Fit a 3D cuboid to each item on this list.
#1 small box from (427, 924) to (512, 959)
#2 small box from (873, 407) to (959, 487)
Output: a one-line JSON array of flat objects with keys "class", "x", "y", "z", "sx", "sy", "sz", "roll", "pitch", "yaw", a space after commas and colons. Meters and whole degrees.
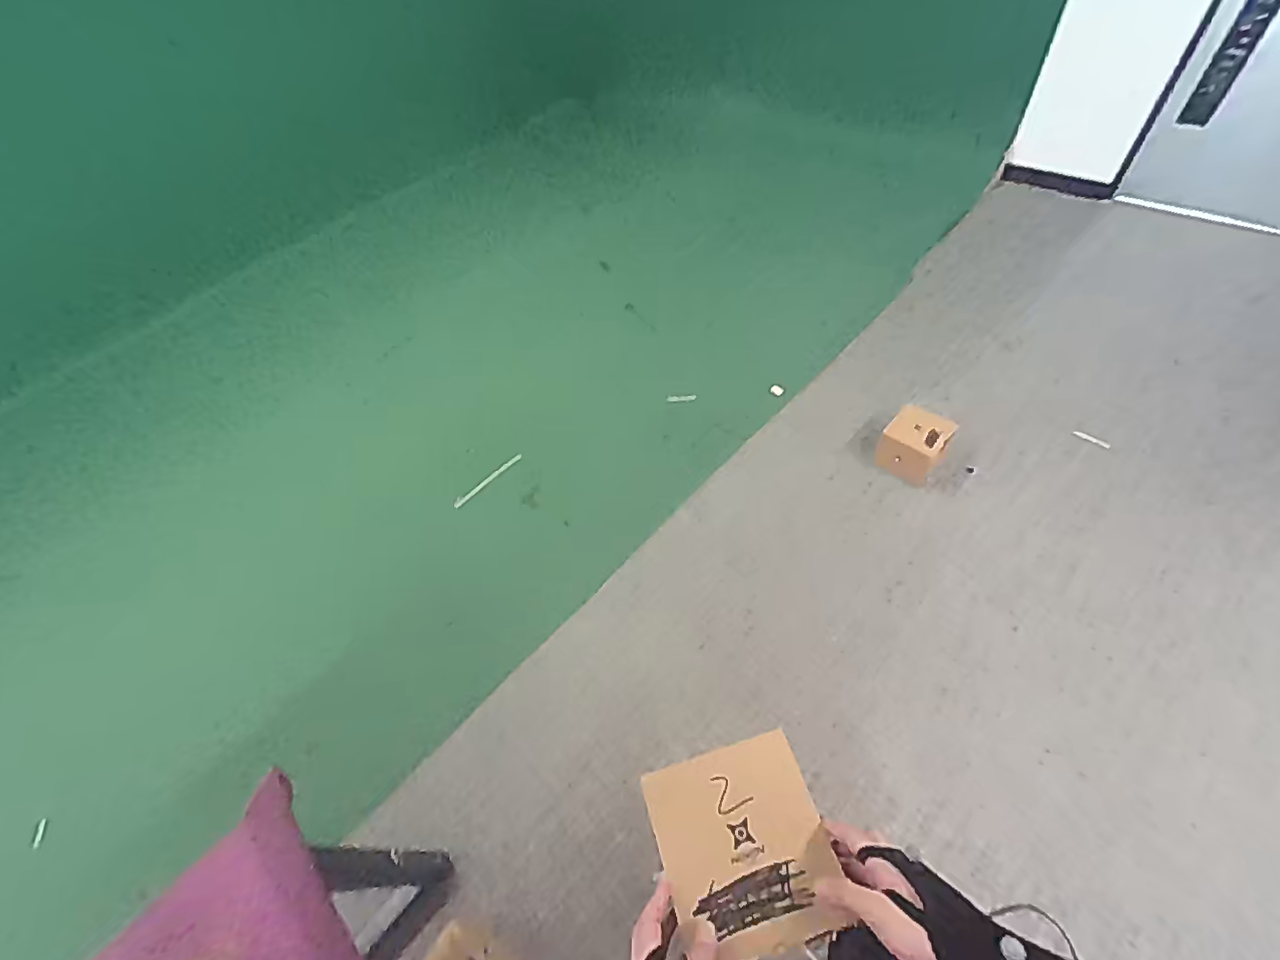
[{"class": "small box", "x": -0.375, "y": 1.087, "z": 1.137, "sx": 0.168, "sy": 0.176, "sz": 0.179, "roll": 28, "pitch": 63, "yaw": 27}, {"class": "small box", "x": 0.901, "y": -0.101, "z": 1.779, "sx": 0.179, "sy": 0.176, "sz": 0.168, "roll": 35, "pitch": 66, "yaw": 31}]
